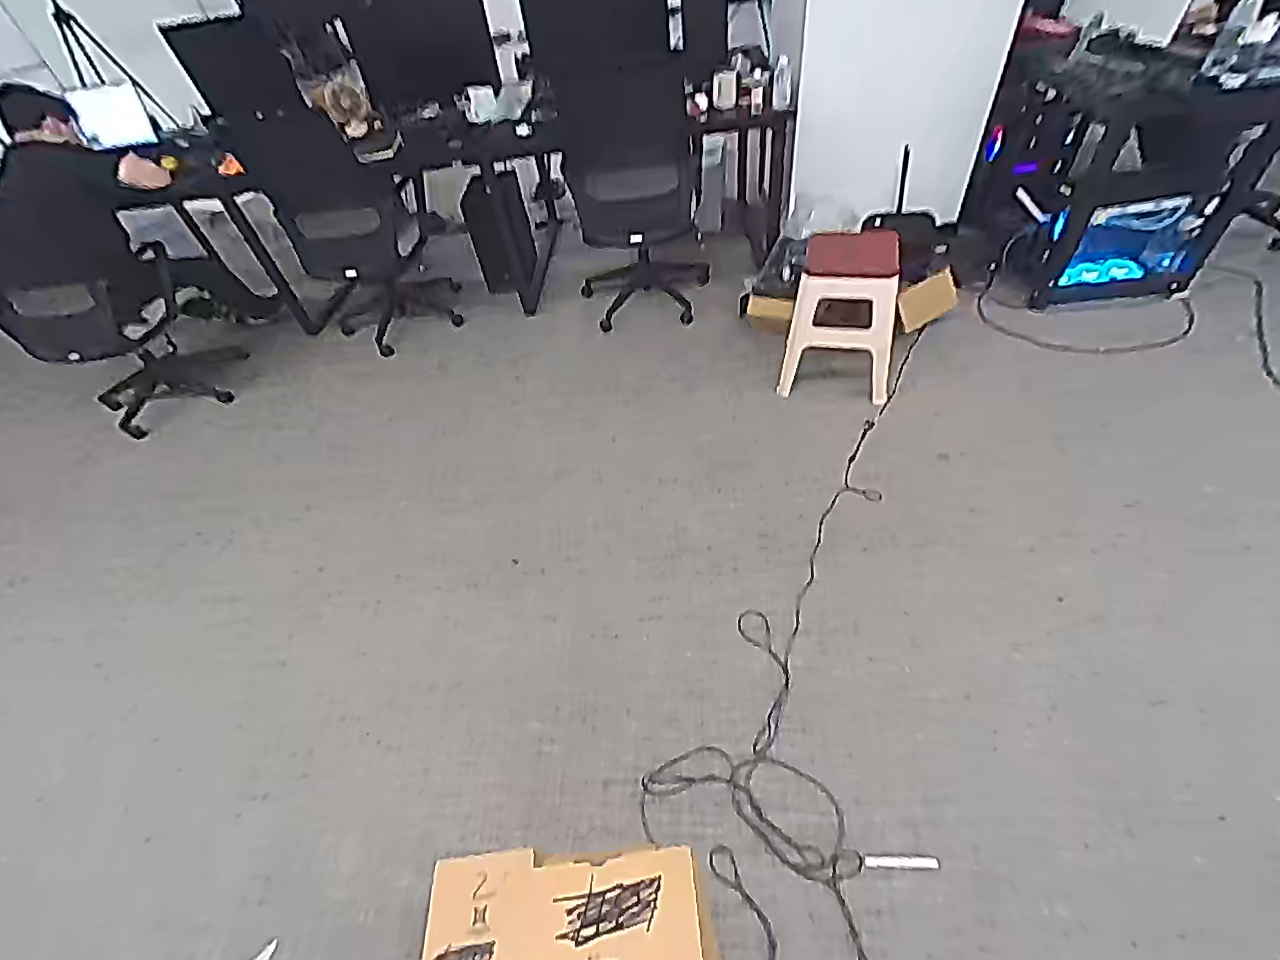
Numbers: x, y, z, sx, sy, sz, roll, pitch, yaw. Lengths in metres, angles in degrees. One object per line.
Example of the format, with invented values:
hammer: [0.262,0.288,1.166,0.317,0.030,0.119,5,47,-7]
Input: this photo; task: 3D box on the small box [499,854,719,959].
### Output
small box: [-0.015,0.442,0.425,0.168,0.176,0.179,-11,25,4]
